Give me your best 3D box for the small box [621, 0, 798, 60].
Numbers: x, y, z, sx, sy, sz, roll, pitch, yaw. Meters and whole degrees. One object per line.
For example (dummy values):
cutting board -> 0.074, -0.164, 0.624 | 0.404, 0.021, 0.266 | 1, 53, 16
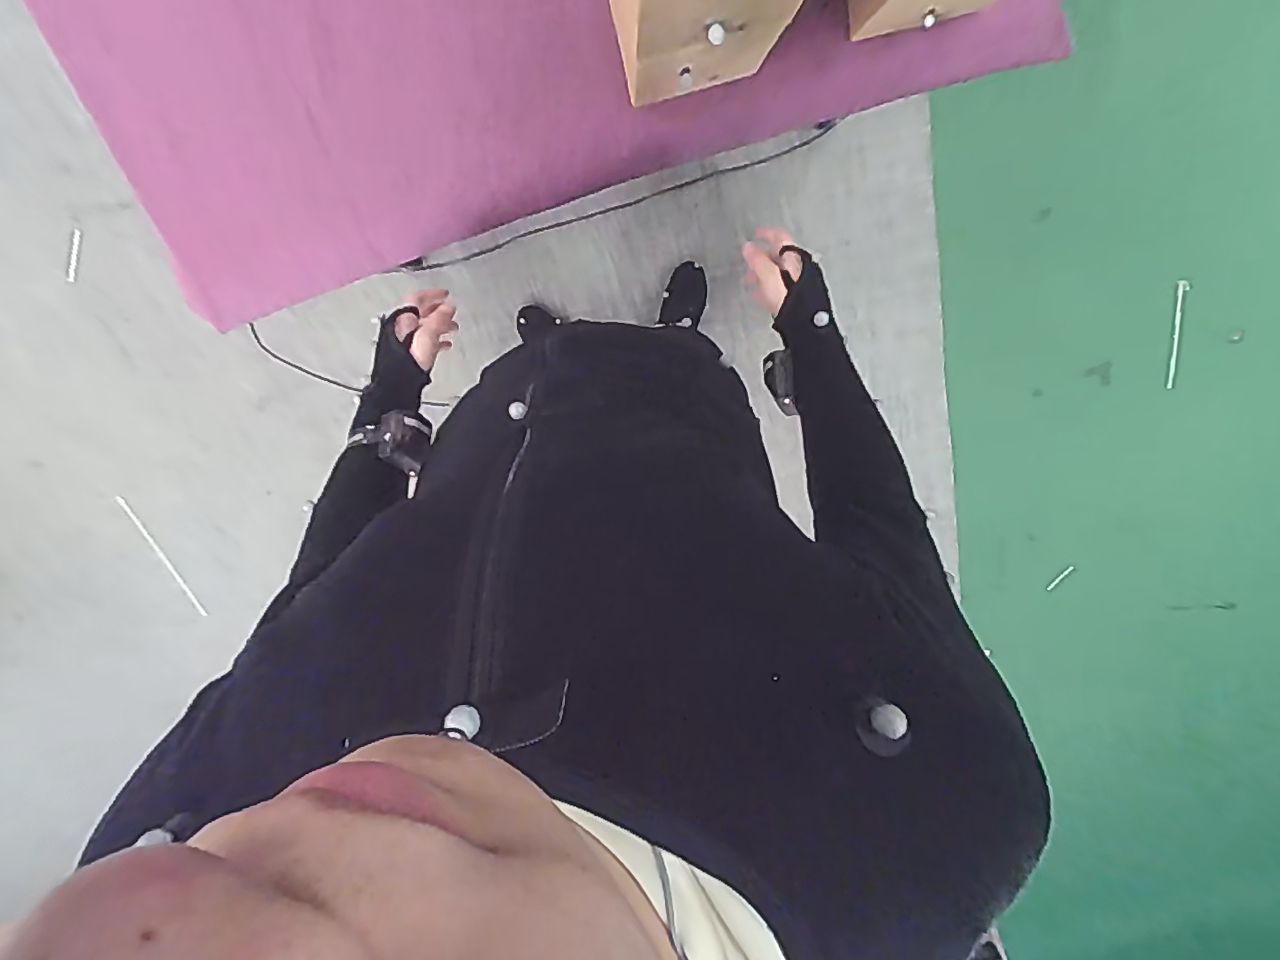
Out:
small box -> 0.053, -0.493, 0.442 | 0.168, 0.176, 0.179 | -13, 111, 5

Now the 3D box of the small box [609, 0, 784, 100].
small box -> 0.049, -0.550, 0.595 | 0.168, 0.176, 0.179 | -14, 110, 5
